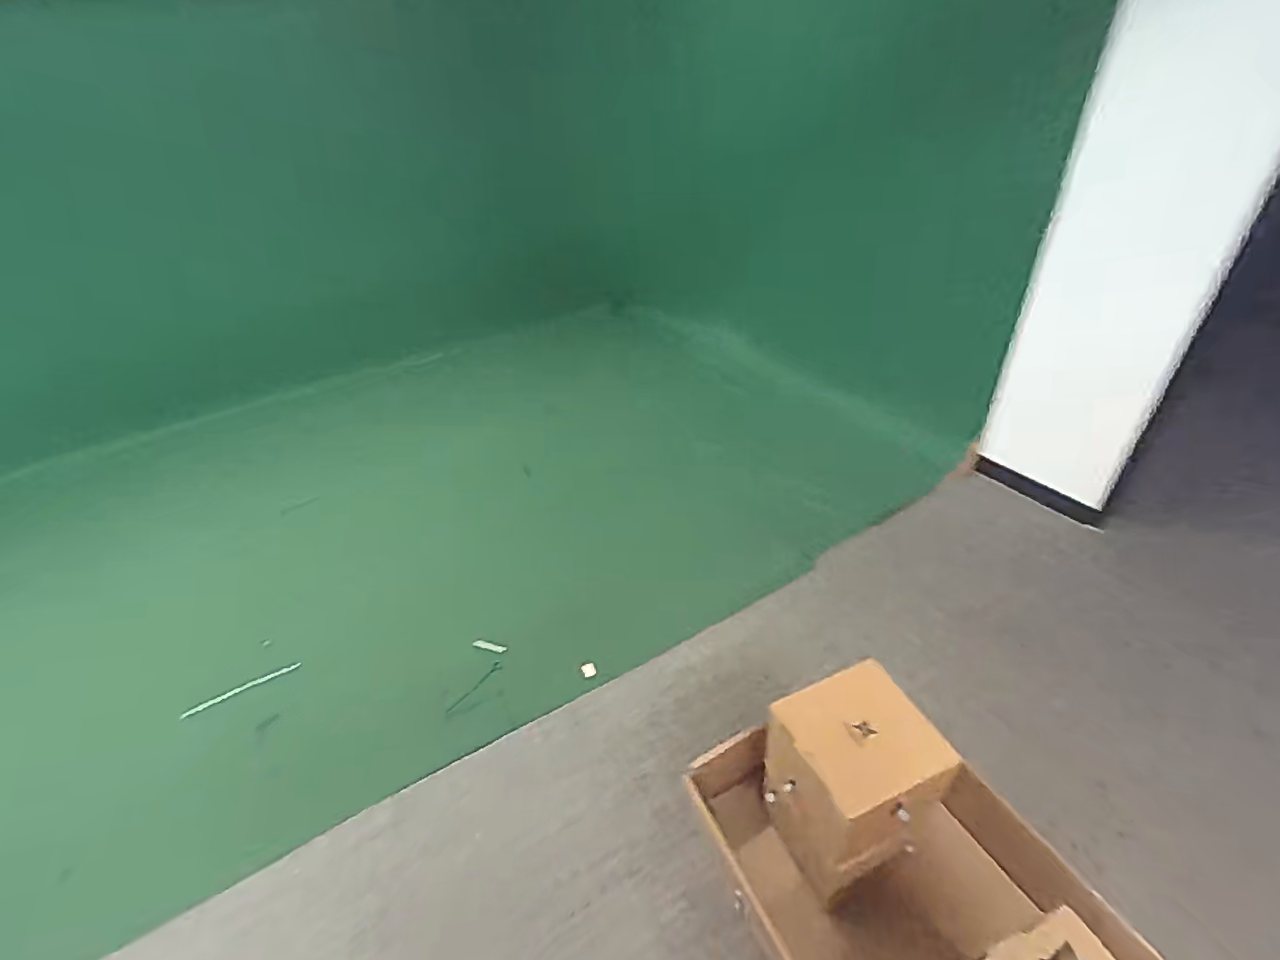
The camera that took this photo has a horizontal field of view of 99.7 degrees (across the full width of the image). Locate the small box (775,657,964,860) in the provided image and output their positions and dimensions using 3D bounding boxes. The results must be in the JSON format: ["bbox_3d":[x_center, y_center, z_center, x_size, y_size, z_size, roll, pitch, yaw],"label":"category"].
[{"bbox_3d":[0.306,0.391,0.765,0.179,0.176,0.168,-18,39,-13],"label":"small box"}]

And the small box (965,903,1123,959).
[{"bbox_3d":[0.406,0.565,0.520,0.168,0.176,0.179,-18,39,-12],"label":"small box"}]
